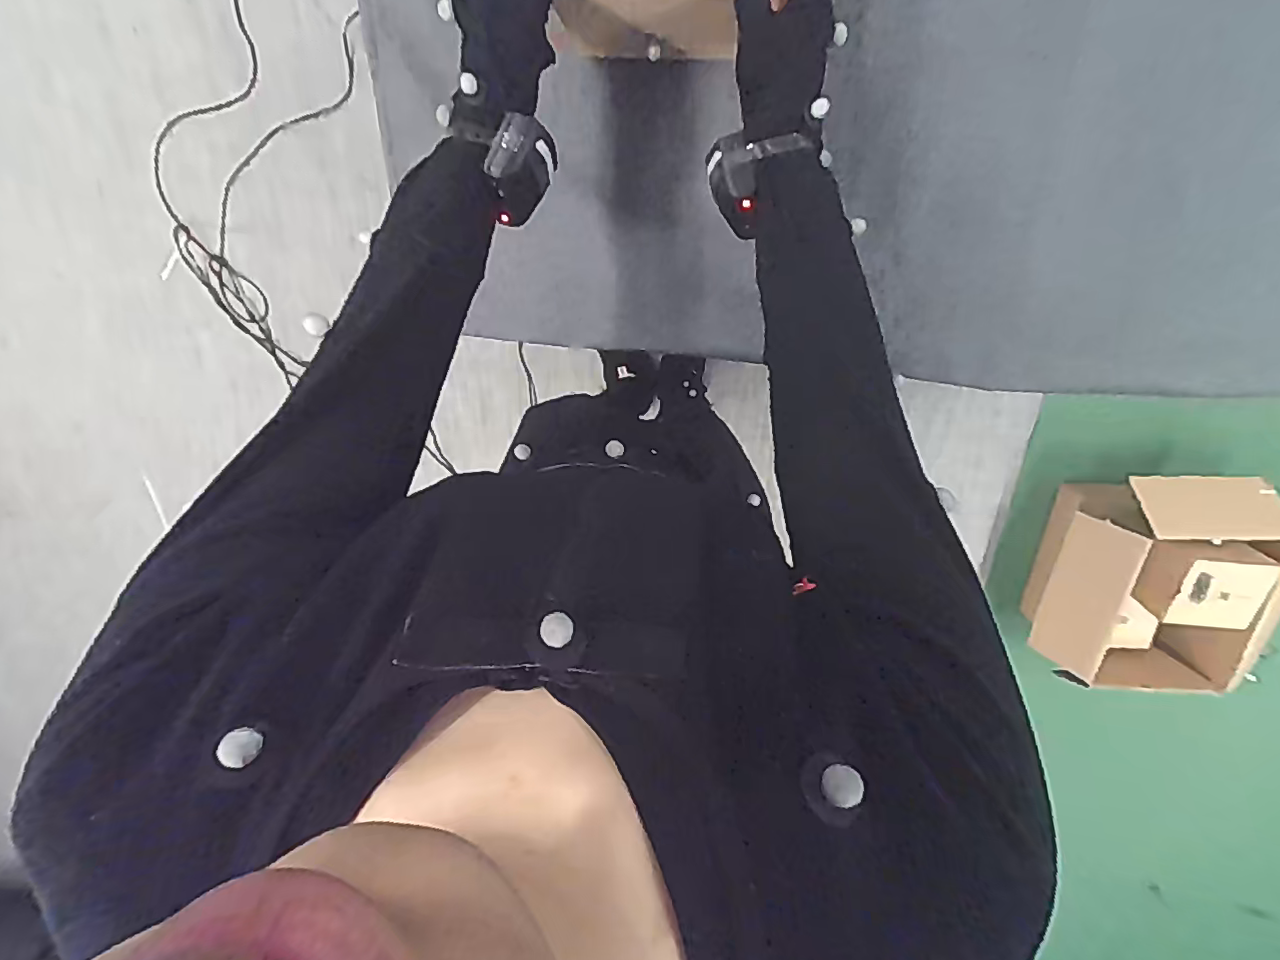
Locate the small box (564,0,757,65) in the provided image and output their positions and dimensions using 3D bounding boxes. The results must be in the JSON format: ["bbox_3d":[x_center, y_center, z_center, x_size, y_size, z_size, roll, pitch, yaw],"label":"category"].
[{"bbox_3d":[0.017,-0.478,0.444,0.168,0.176,0.179,4,113,3],"label":"small box"}]
